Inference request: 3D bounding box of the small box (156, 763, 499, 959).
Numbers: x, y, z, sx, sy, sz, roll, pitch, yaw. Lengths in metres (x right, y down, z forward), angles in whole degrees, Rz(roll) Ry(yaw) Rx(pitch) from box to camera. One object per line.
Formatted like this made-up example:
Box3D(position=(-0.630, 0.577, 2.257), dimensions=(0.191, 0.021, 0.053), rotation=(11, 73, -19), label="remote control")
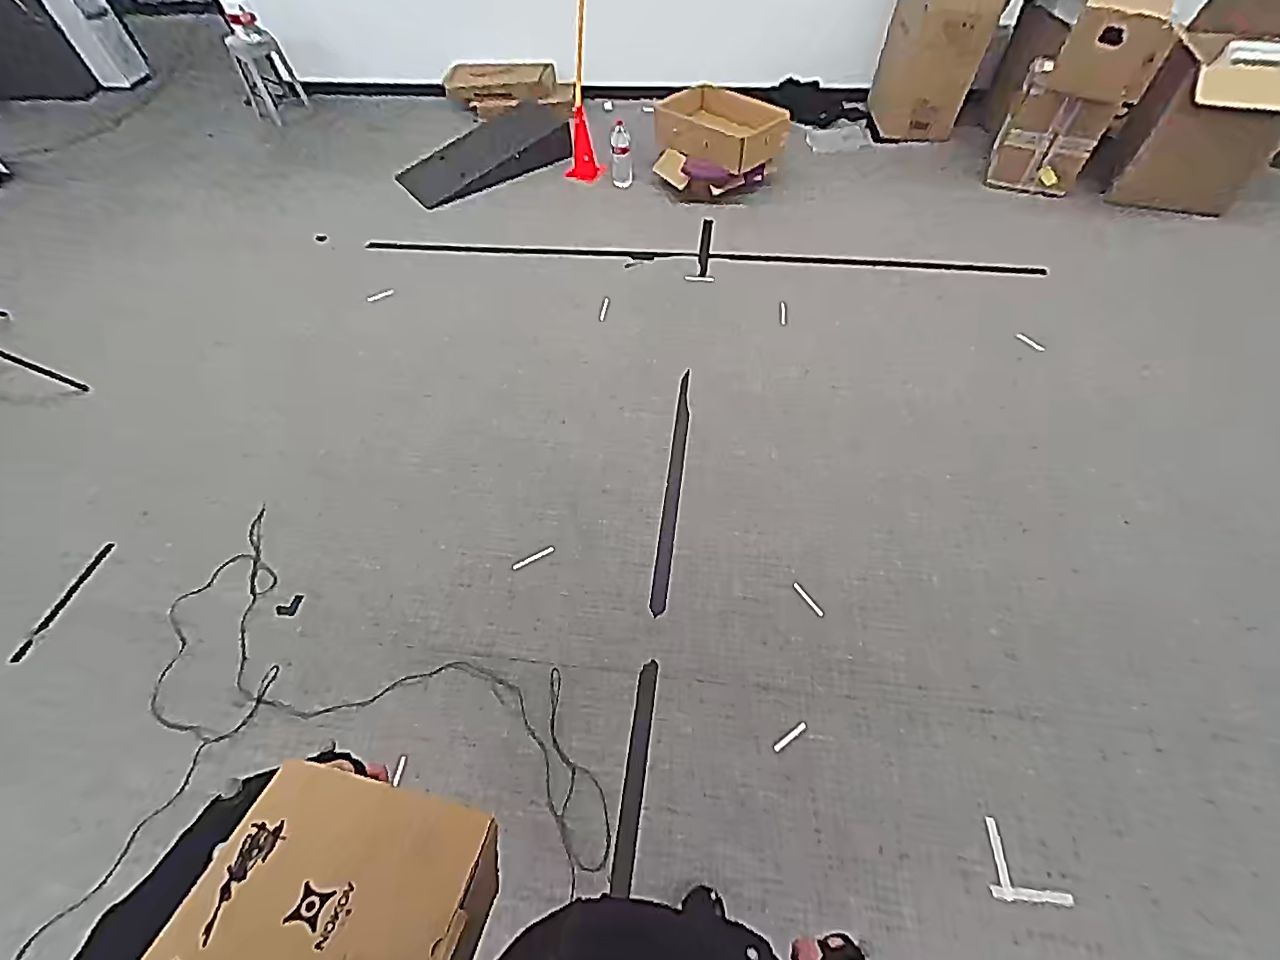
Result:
Box3D(position=(-0.221, 0.356, 0.414), dimensions=(0.179, 0.176, 0.168), rotation=(14, 37, 4), label="small box")
